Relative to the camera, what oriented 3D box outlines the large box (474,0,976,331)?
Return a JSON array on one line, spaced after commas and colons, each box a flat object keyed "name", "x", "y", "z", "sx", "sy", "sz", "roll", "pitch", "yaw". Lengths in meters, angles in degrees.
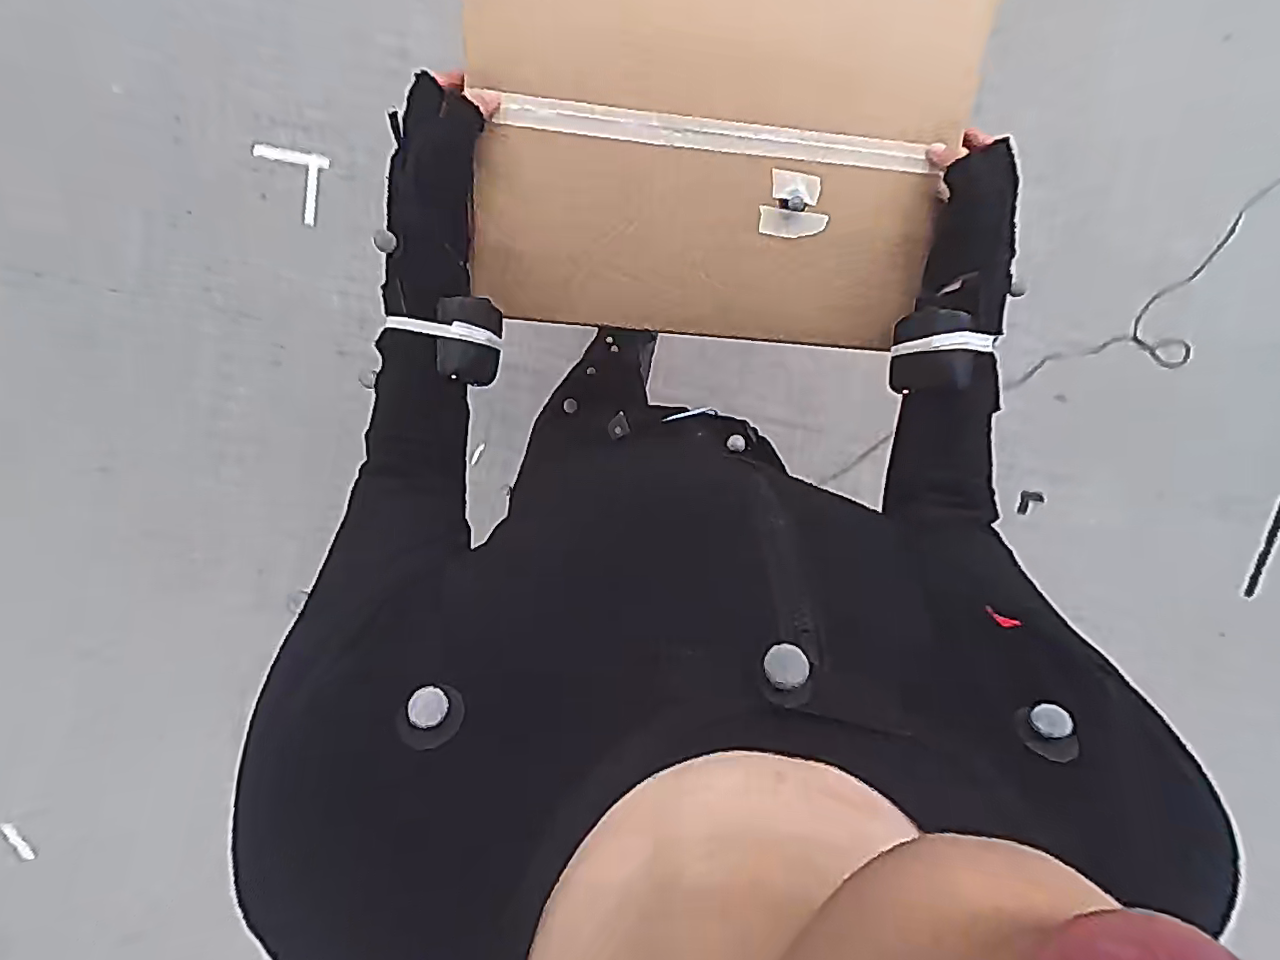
[{"name": "large box", "x": 0.052, "y": -0.346, "z": 0.591, "sx": 0.408, "sy": 0.320, "sz": 0.320, "roll": 3, "pitch": 111, "yaw": -7}]
